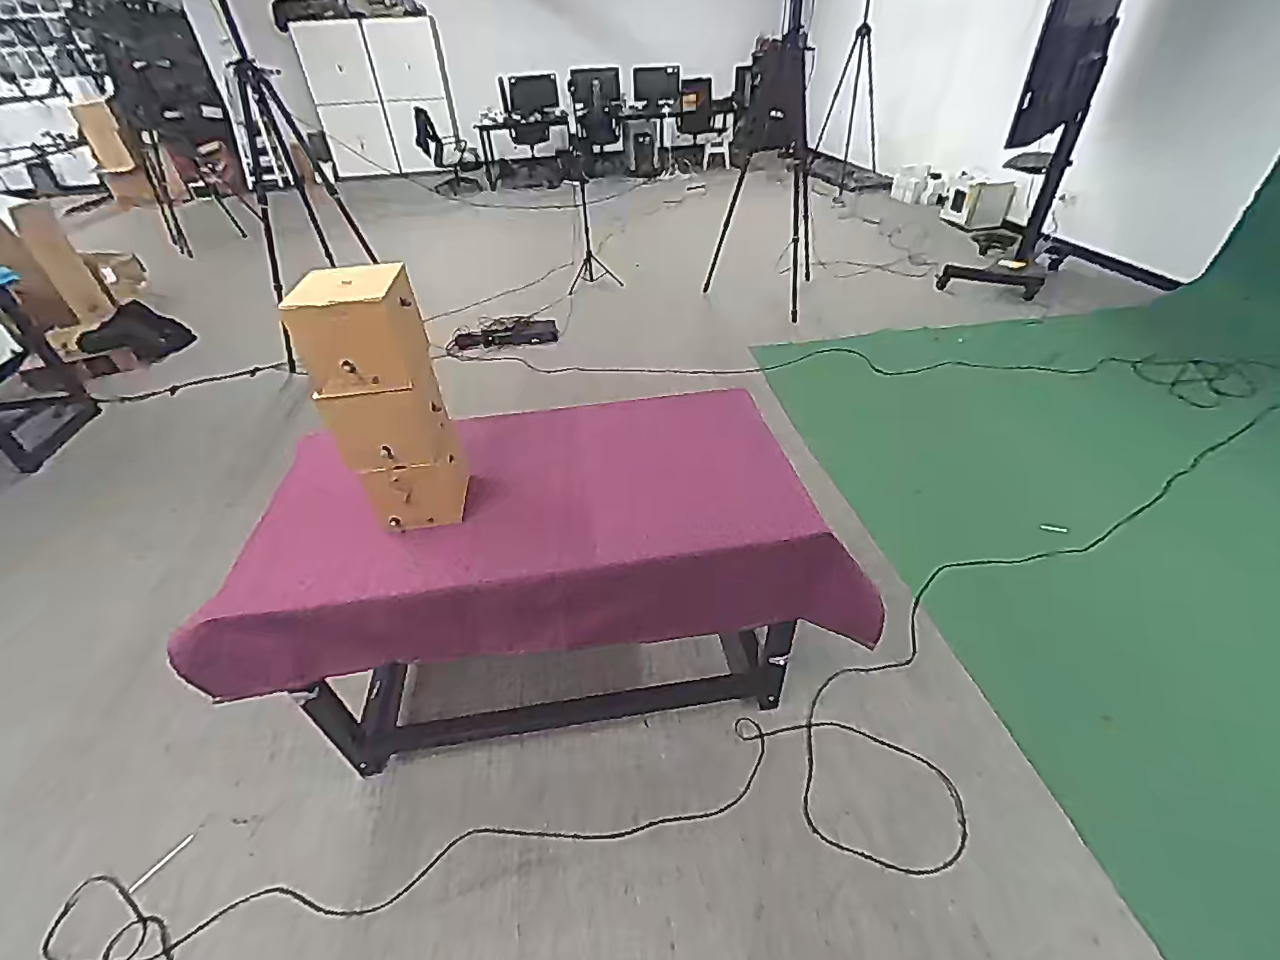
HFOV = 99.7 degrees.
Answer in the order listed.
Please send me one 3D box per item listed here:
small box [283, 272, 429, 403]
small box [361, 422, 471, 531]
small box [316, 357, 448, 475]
[{"bbox_3d":[-0.493,-0.258,0.975,0.168,0.176,0.179,-8,40,-4],"label":"small box"},{"bbox_3d":[-0.475,-0.002,1.179,0.168,0.176,0.179,-7,38,-5],"label":"small box"},{"bbox_3d":[-0.495,-0.127,1.073,0.179,0.176,0.168,-6,39,-4],"label":"small box"}]
